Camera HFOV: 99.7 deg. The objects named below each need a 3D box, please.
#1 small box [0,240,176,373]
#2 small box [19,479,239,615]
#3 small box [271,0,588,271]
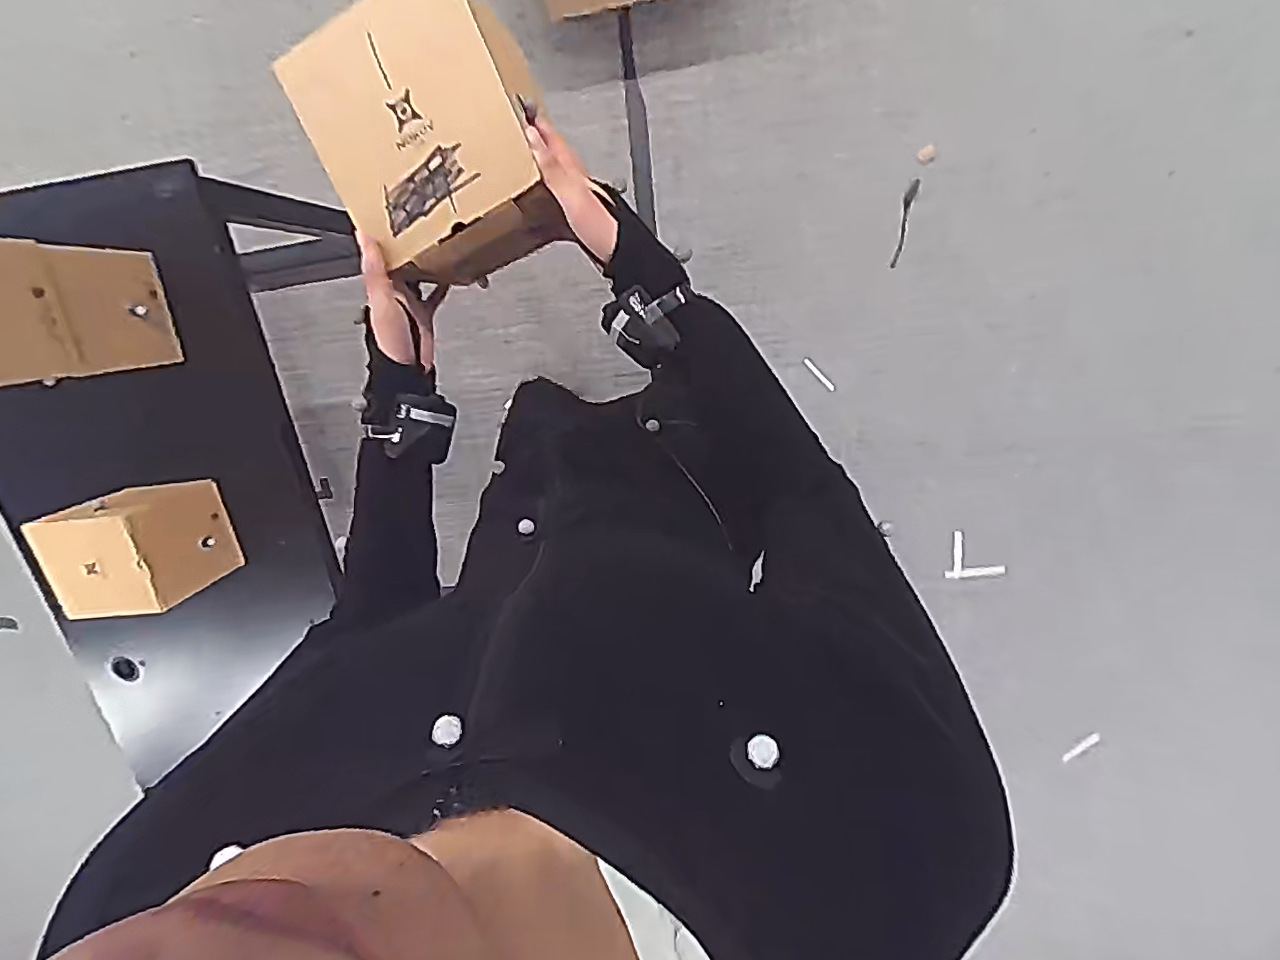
[{"bbox_3d":[-0.836,-0.246,0.775,0.179,0.176,0.168,0,110,5],"label":"small box"},{"bbox_3d":[-0.828,0.105,0.897,0.179,0.176,0.168,-6,108,6],"label":"small box"},{"bbox_3d":[-0.164,-0.302,0.485,0.168,0.176,0.179,-20,103,13],"label":"small box"}]
